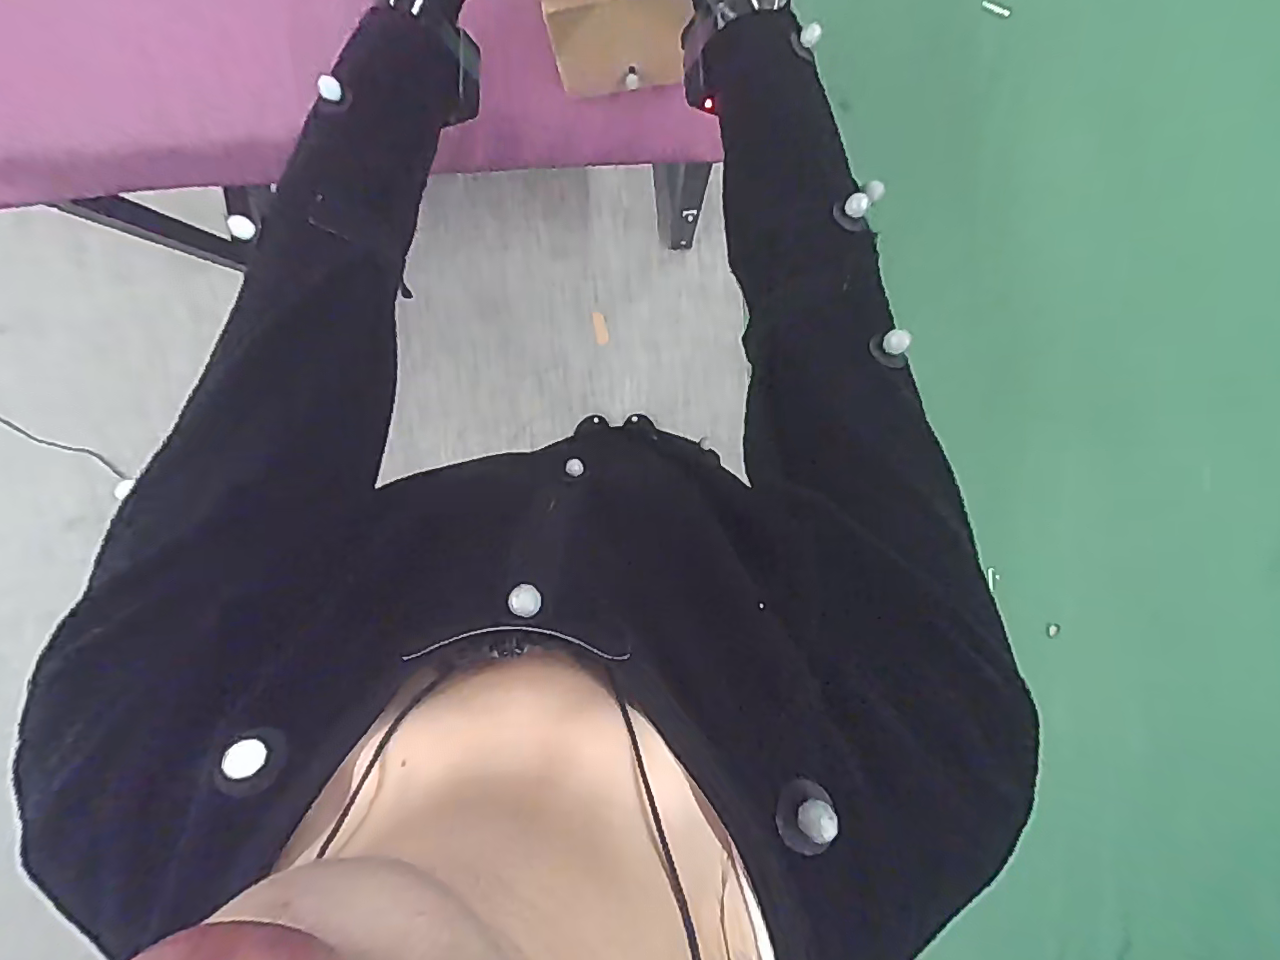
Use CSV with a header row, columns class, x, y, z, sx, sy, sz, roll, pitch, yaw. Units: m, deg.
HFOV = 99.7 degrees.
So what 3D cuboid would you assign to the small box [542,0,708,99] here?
class,x,y,z,sx,sy,sz,roll,pitch,yaw
small box,-0.024,-0.581,0.623,0.179,0.176,0.168,-8,97,2
